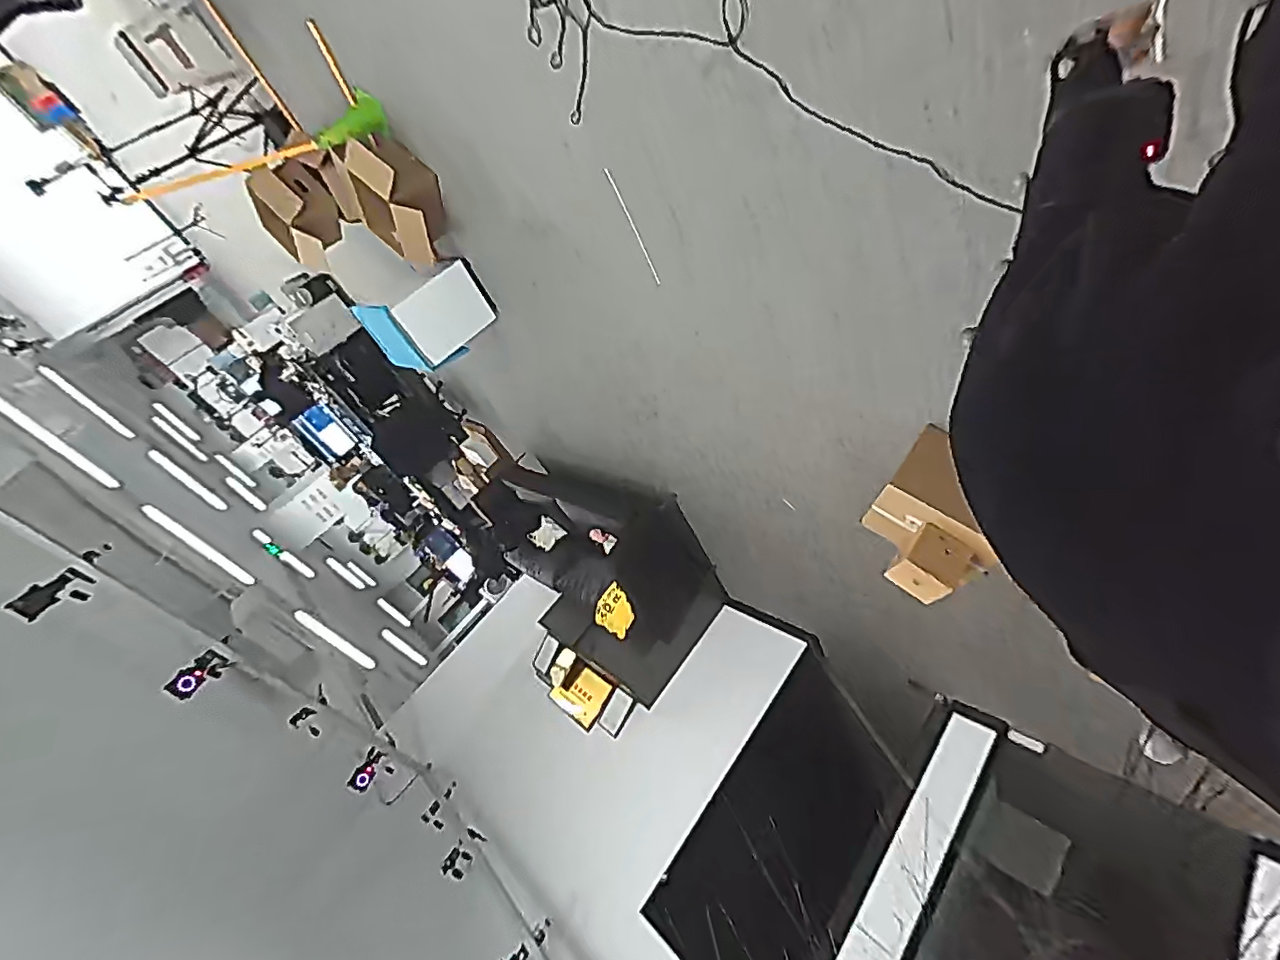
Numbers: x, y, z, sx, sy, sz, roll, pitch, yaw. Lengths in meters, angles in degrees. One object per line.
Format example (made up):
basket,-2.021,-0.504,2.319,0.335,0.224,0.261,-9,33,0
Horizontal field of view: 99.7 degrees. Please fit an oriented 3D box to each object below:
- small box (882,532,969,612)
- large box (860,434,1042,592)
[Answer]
small box,0.949,0.306,1.795,0.168,0.176,0.179,37,158,17
large box,1.071,0.114,1.895,0.408,0.320,0.320,36,156,21
